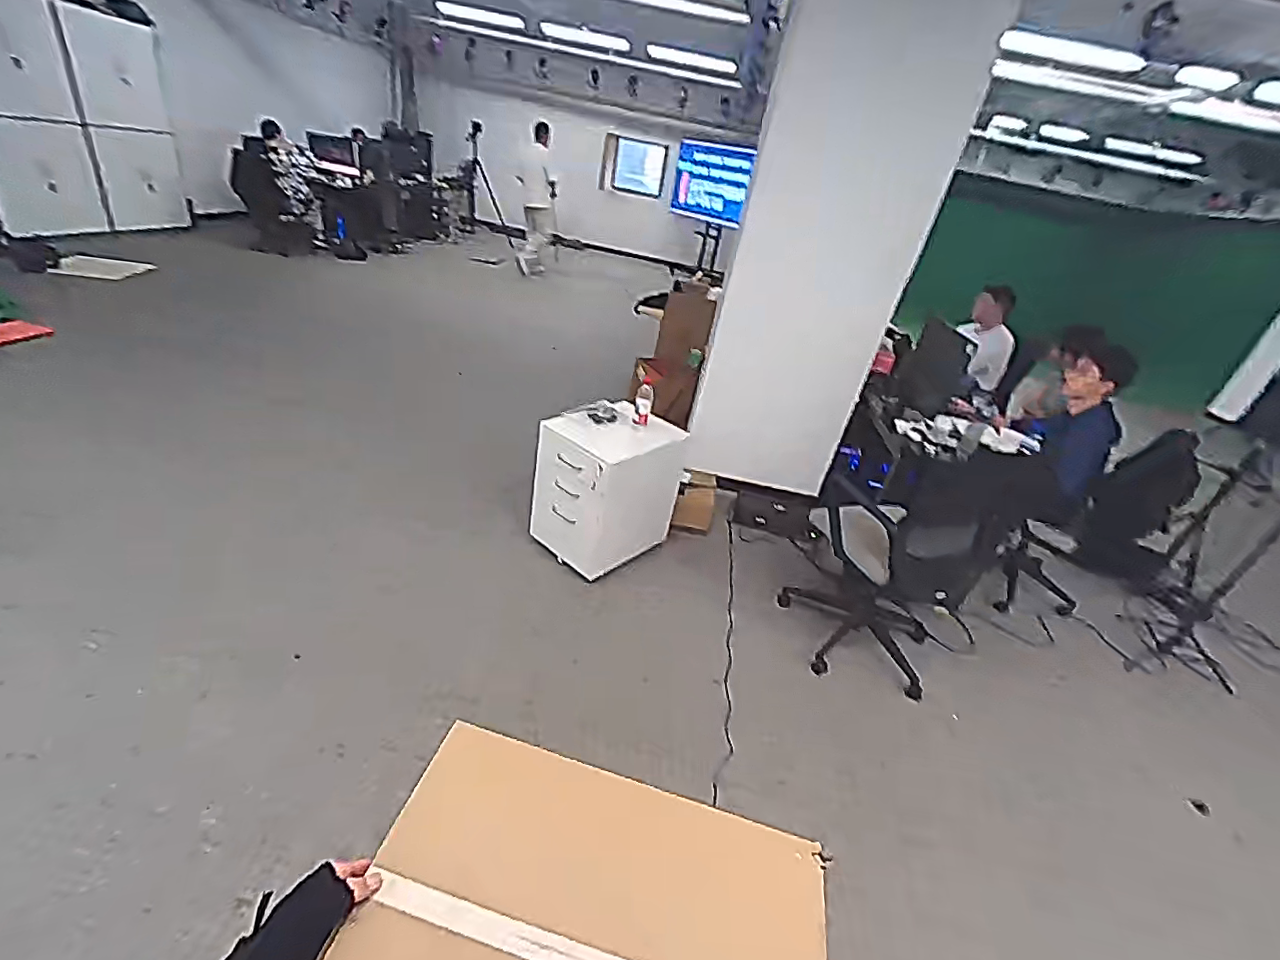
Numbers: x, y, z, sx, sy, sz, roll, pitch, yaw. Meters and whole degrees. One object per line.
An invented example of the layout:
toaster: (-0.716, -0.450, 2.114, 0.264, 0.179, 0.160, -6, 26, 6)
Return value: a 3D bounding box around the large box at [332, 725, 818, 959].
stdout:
large box: (-0.072, 0.521, 0.541, 0.408, 0.320, 0.320, 17, 34, 4)
